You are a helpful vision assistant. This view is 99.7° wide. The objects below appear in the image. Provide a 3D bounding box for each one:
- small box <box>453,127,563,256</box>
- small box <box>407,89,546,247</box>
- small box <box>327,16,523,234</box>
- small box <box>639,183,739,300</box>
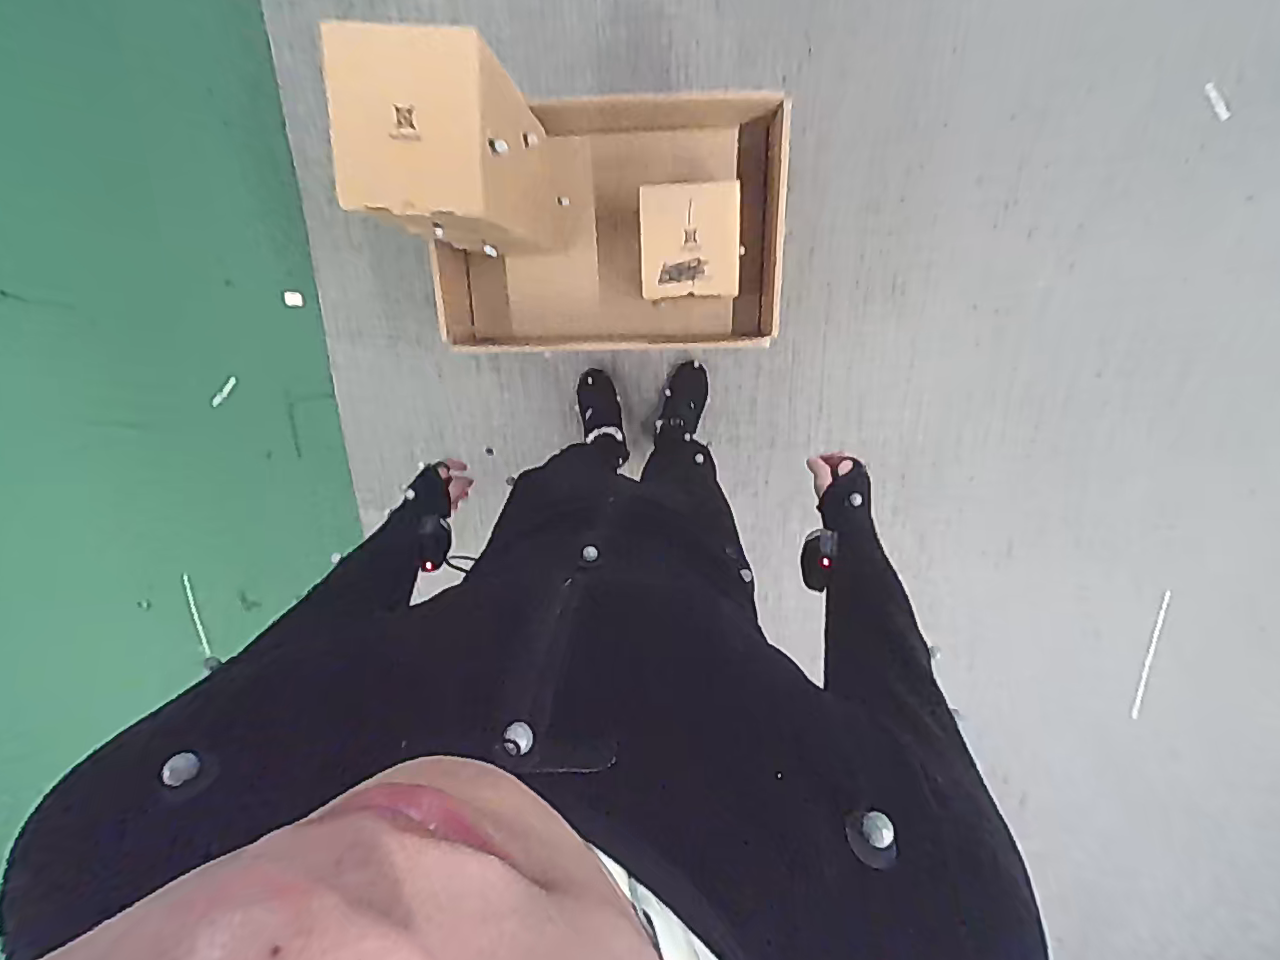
[{"bbox_3d":[-0.234,-0.505,0.964,0.168,0.176,0.179,1,107,2],"label":"small box"},{"bbox_3d":[-0.239,-0.456,0.807,0.168,0.176,0.179,4,108,2],"label":"small box"},{"bbox_3d":[-0.243,-0.408,0.652,0.168,0.176,0.179,5,108,1],"label":"small box"},{"bbox_3d":[0.085,-0.419,0.974,0.168,0.176,0.179,-1,106,3],"label":"small box"}]
